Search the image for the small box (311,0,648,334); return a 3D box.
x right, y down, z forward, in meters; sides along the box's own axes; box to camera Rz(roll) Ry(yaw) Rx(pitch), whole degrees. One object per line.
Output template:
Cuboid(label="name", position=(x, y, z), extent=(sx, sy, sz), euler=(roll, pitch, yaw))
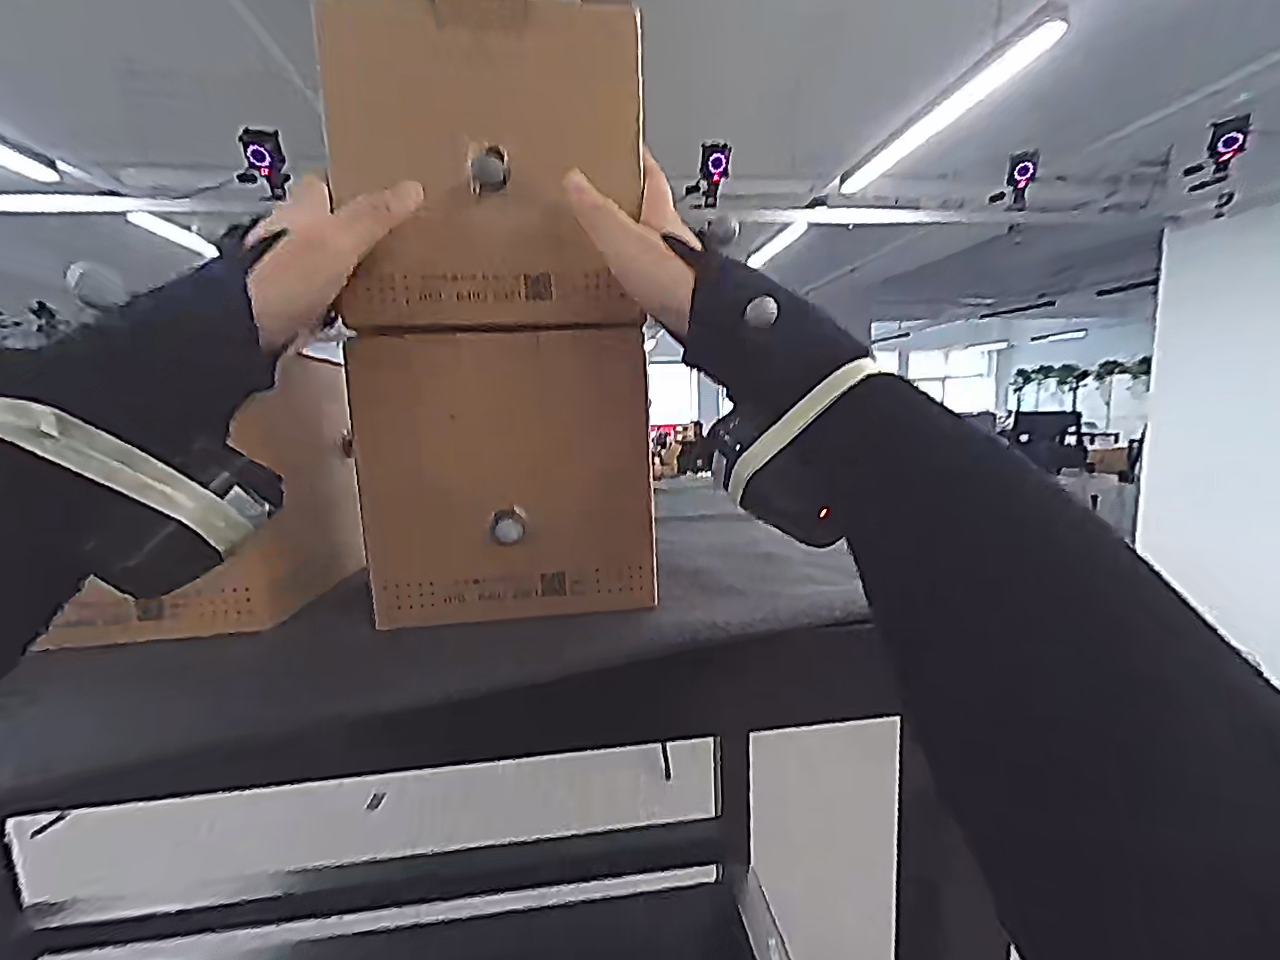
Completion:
Cuboid(label="small box", position=(-0.088, -0.175, 0.366), extent=(0.168, 0.176, 0.179), euler=(-3, 8, -7))

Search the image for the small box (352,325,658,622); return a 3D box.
Cuboid(label="small box", position=(-0.081, -0.010, 0.391), extent=(0.168, 0.176, 0.179), euler=(-5, 8, -5))
